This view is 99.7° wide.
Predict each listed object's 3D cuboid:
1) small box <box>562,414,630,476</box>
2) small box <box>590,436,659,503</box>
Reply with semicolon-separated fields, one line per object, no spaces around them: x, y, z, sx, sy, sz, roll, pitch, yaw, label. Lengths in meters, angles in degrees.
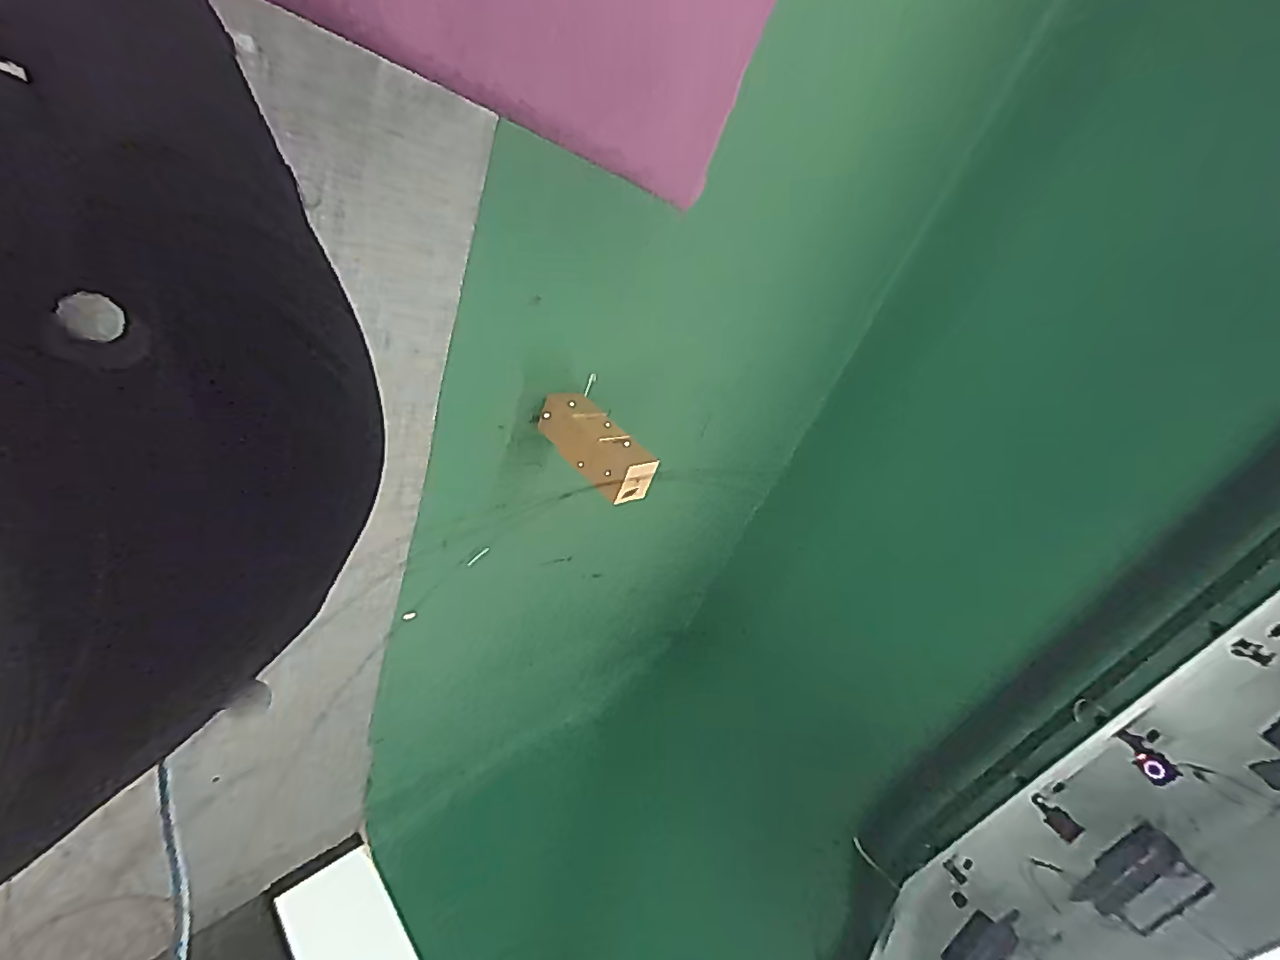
-0.175;-0.143;2.081;0.168;0.176;0.179;-11;134;-47;small box
-0.064;-0.043;2.012;0.168;0.176;0.179;-13;135;-47;small box
